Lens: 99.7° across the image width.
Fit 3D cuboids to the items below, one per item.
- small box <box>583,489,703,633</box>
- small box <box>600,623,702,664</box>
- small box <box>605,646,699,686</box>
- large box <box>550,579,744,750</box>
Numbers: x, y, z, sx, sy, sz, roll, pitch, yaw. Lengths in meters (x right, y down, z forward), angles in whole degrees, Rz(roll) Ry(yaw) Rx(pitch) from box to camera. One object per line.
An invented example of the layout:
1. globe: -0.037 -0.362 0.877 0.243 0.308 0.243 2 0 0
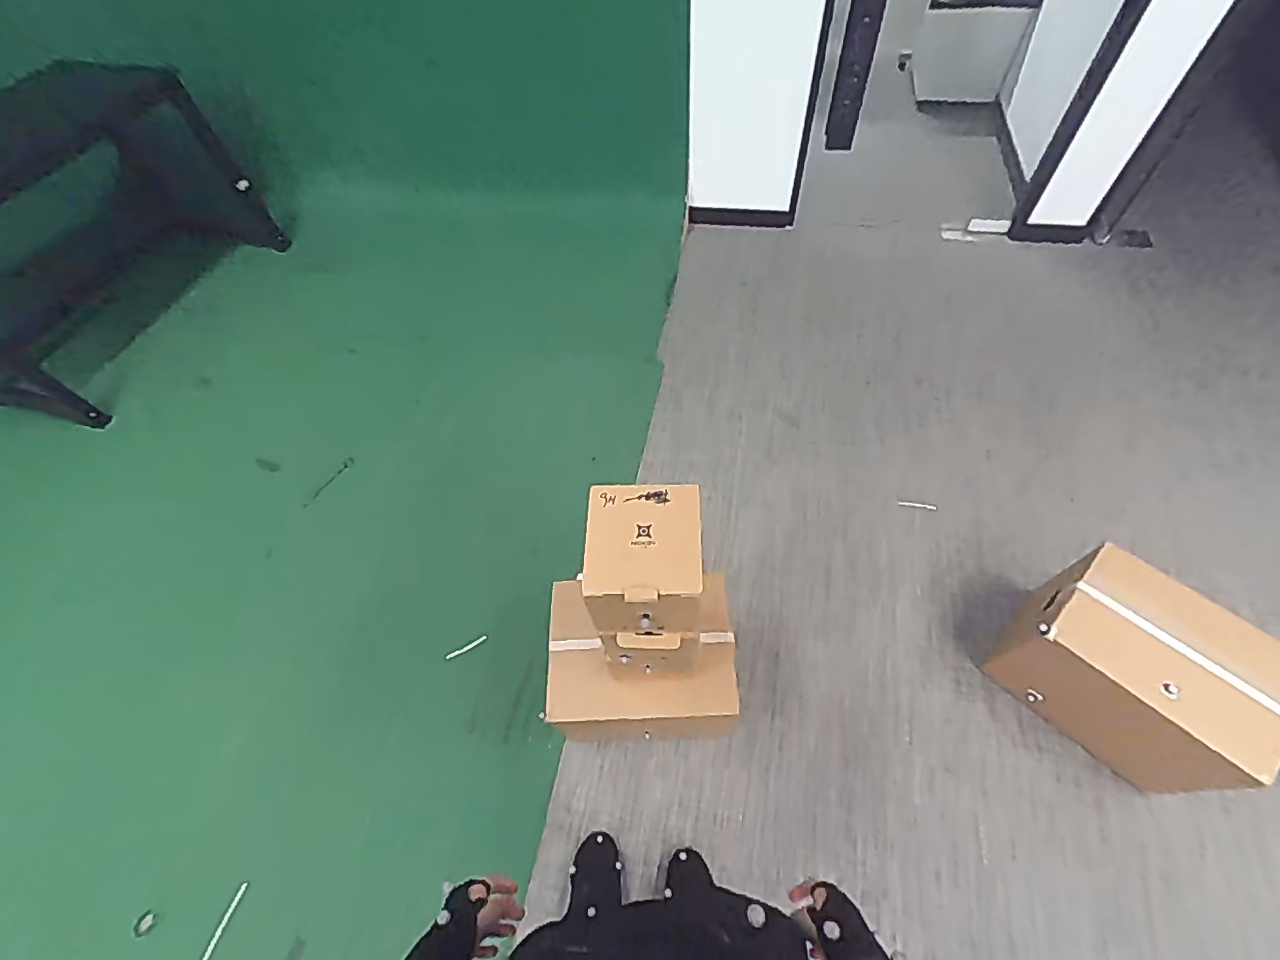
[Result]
1. small box: 0.013 0.129 0.830 0.168 0.176 0.179 -1 58 4
2. small box: 0.028 0.222 0.965 0.168 0.176 0.179 0 57 5
3. small box: 0.030 0.316 1.100 0.179 0.176 0.168 -1 57 4
4. large box: 0.020 0.455 1.303 0.408 0.320 0.320 -5 55 3
